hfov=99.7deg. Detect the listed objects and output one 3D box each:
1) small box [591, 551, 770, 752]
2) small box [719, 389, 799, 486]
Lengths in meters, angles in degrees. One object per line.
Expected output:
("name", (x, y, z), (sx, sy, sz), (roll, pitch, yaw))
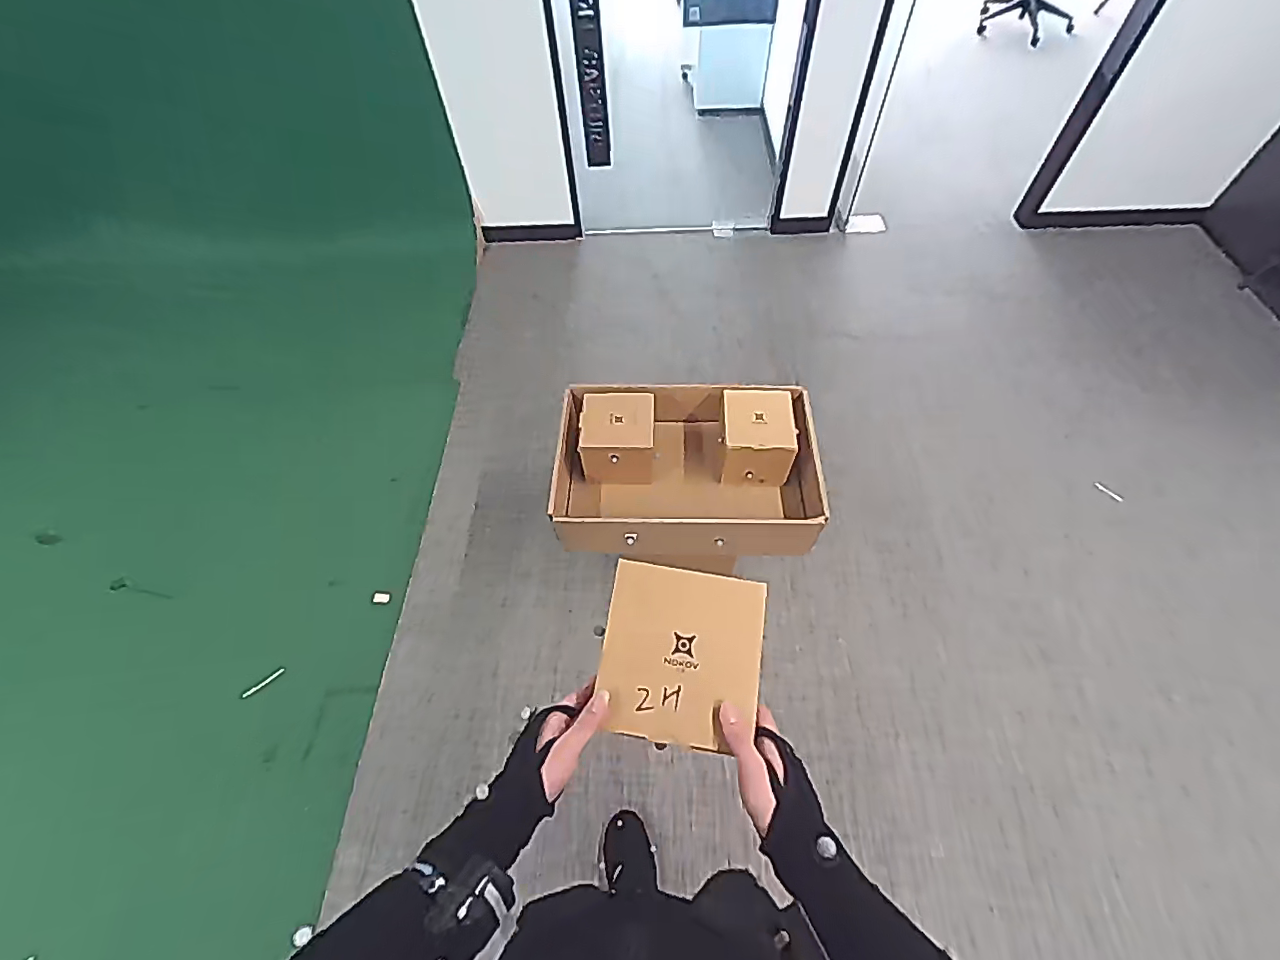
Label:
("small box", (0.045, 0.199, 0.635), (0.168, 0.176, 0.179), (10, 70, 3))
("small box", (0.288, -0.104, 1.346), (0.168, 0.176, 0.179), (2, 59, 3))
